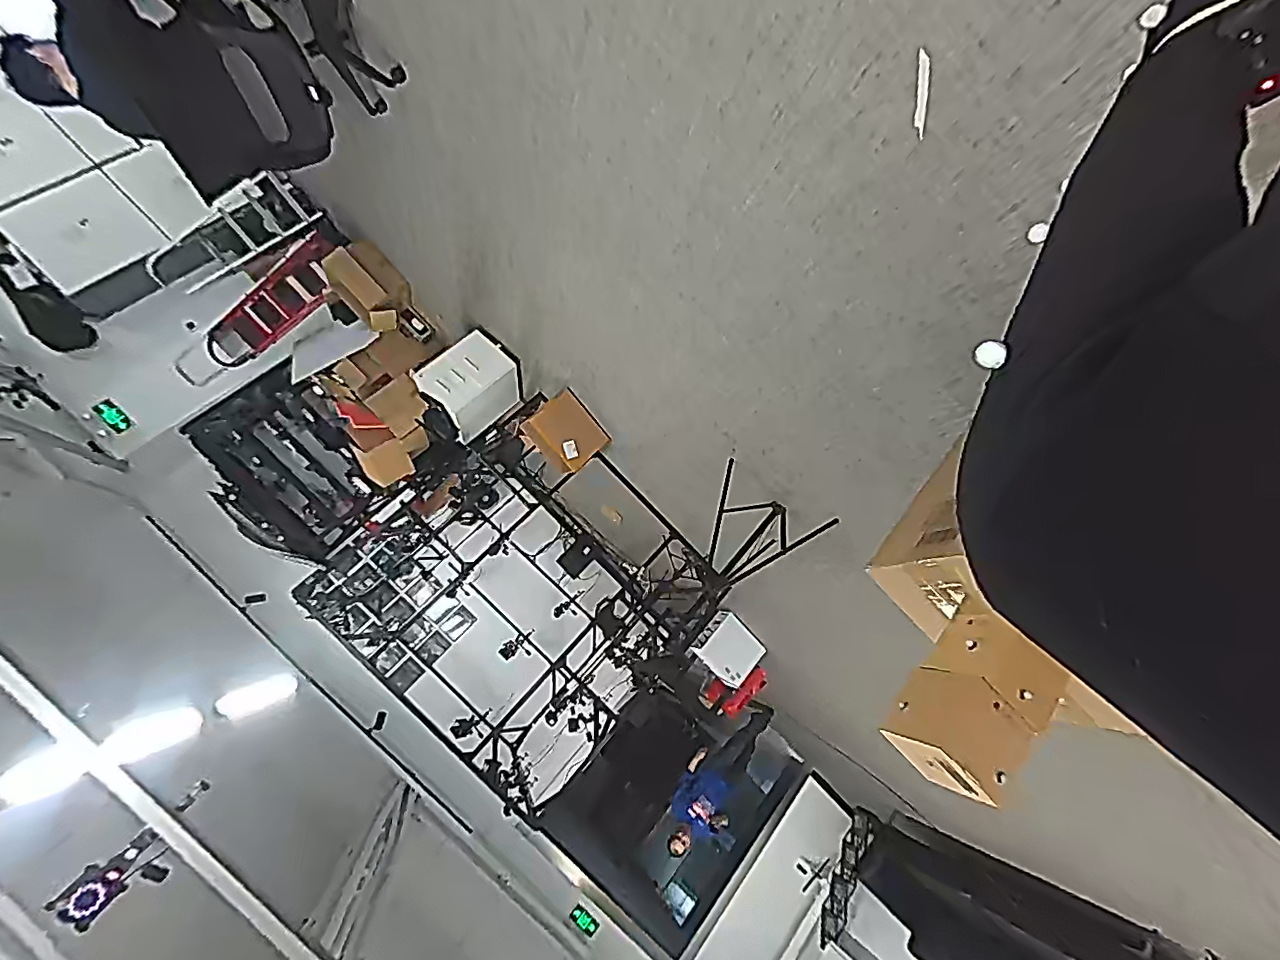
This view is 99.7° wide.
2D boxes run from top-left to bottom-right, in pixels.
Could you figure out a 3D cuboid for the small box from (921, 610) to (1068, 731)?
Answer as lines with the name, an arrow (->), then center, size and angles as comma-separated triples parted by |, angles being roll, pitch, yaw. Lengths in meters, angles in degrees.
small box -> 0.755, 0.394, 1.154 | 0.179, 0.176, 0.168 | 44, 159, -2
